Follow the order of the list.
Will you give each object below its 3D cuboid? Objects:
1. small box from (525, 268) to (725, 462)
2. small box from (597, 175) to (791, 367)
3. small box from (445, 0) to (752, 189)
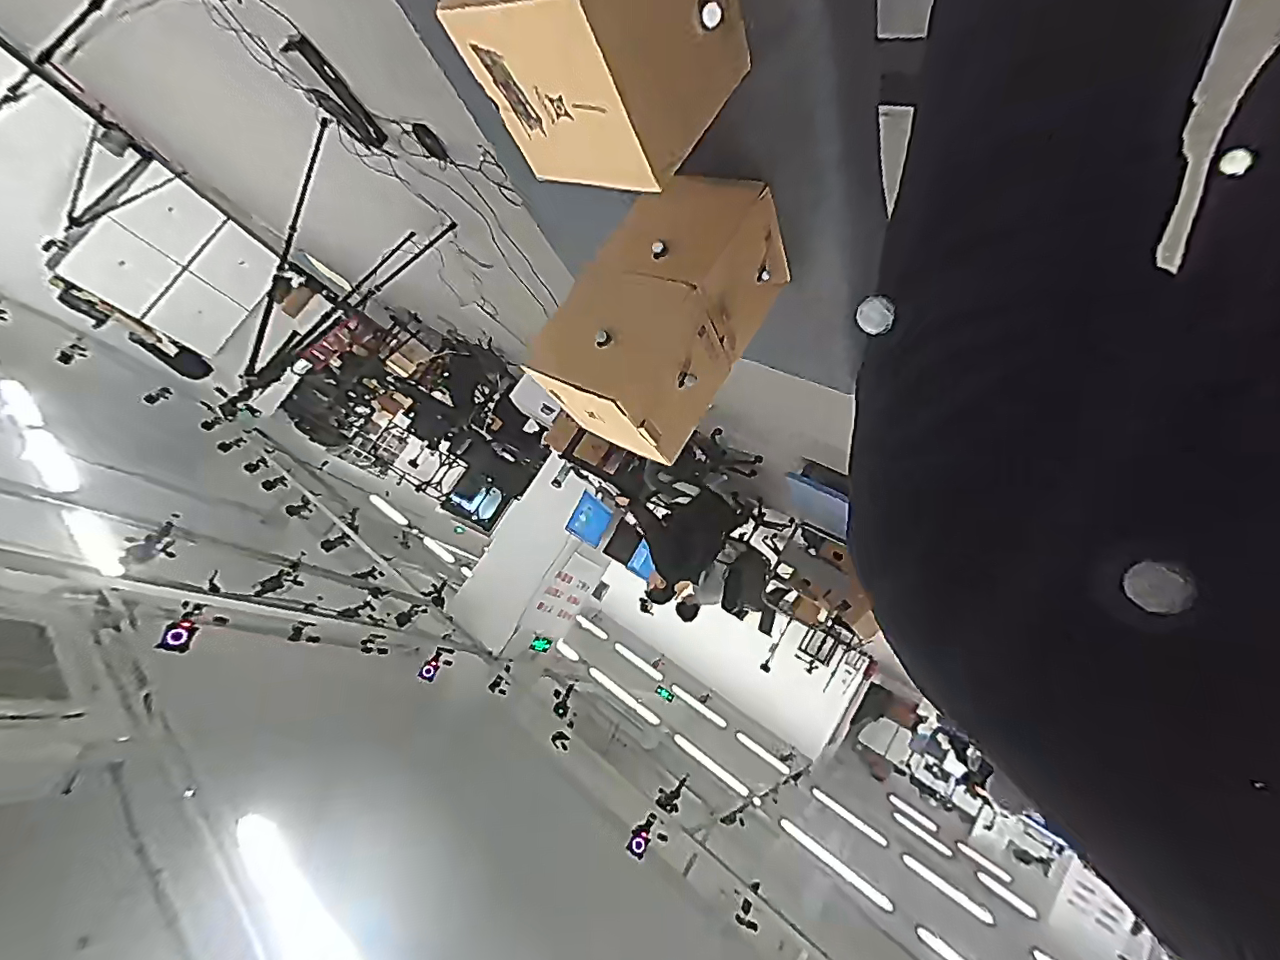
[{"bbox_3d":[-0.008,-0.153,0.709,0.179,0.176,0.168,25,168,35],"label":"small box"},{"bbox_3d":[0.080,-0.288,0.741,0.179,0.176,0.168,26,169,33],"label":"small box"},{"bbox_3d":[-0.027,-0.400,0.485,0.179,0.176,0.168,27,170,32],"label":"small box"}]
